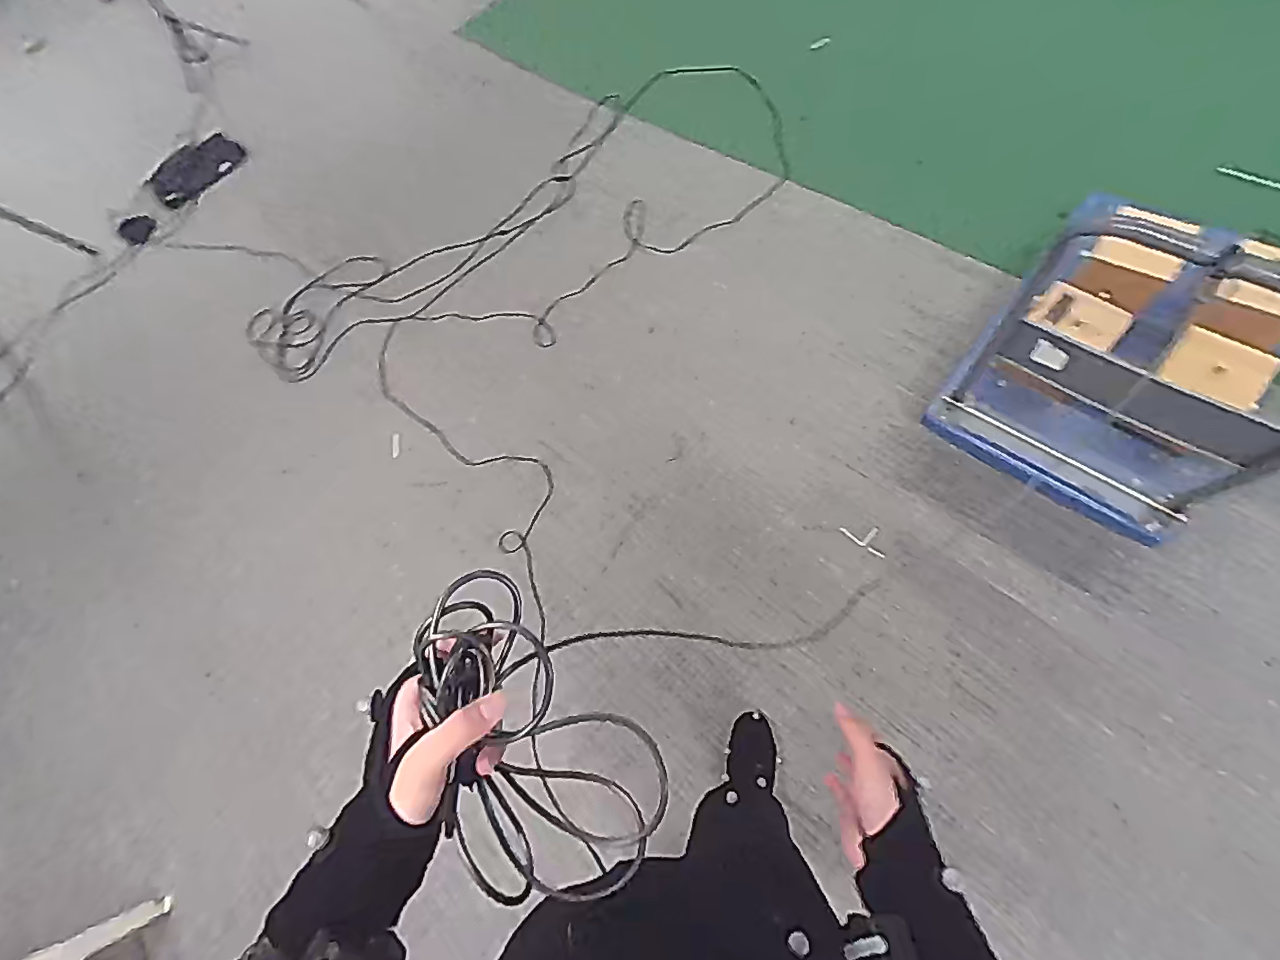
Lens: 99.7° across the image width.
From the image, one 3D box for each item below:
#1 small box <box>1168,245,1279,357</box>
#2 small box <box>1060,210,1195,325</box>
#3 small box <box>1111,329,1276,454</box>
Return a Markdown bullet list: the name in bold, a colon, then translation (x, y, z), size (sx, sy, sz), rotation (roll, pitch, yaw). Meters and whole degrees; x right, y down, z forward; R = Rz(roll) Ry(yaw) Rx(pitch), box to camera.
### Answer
- **small box**: translation (1.388, -0.394, 1.245), size (0.168, 0.176, 0.179), rotation (33, 80, 23)
- **small box**: translation (1.191, -0.519, 1.339), size (0.168, 0.176, 0.179), rotation (33, 79, 21)
- **small box**: translation (1.215, -0.191, 1.204), size (0.168, 0.176, 0.179), rotation (38, 82, 23)
